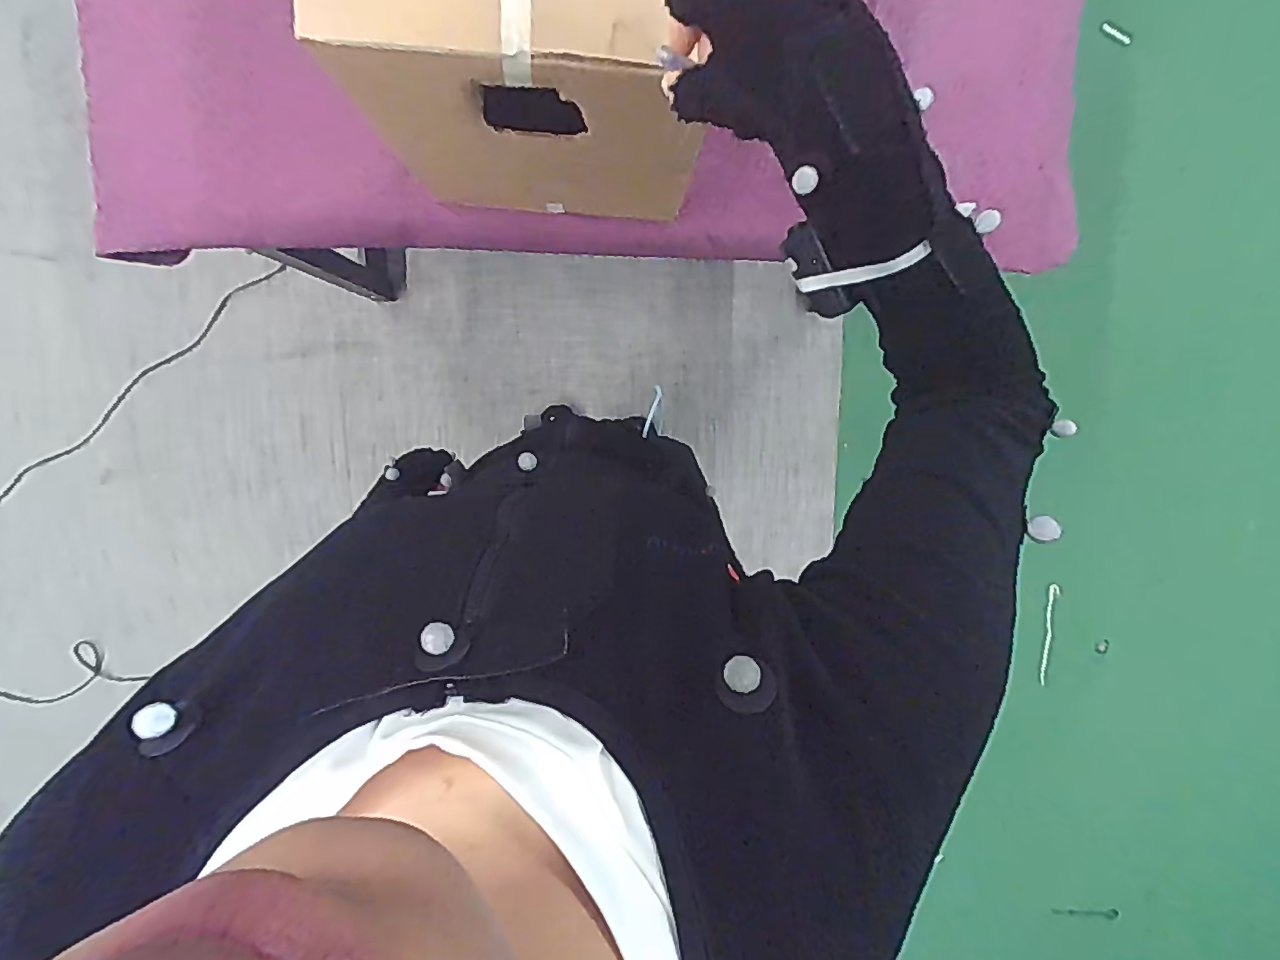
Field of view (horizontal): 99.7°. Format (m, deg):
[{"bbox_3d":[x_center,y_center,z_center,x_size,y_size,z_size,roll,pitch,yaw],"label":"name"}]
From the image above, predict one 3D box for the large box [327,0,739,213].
[{"bbox_3d":[-0.081,-0.532,0.529,0.320,0.320,0.408,3,99,-4],"label":"large box"}]
